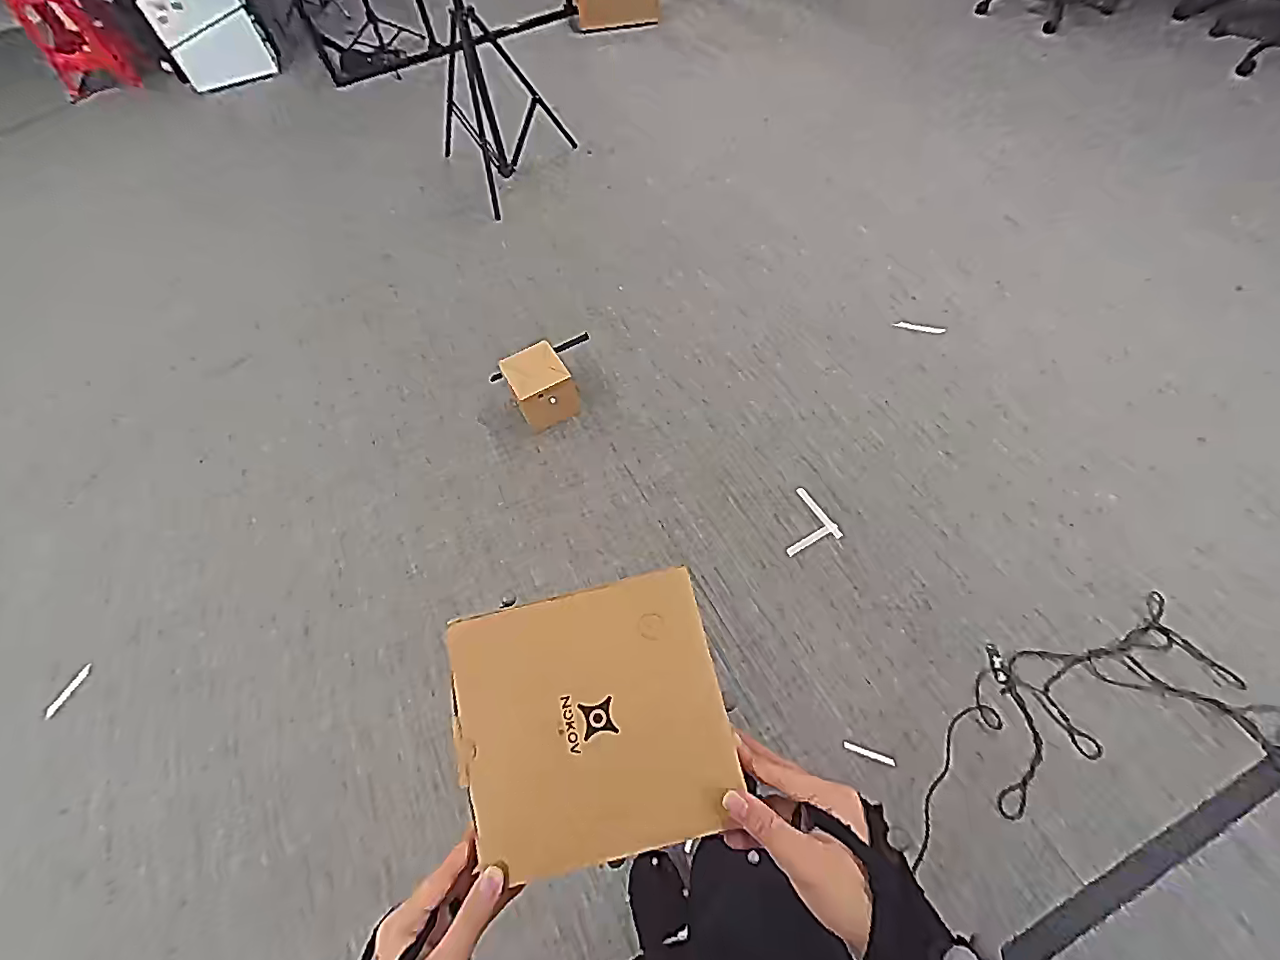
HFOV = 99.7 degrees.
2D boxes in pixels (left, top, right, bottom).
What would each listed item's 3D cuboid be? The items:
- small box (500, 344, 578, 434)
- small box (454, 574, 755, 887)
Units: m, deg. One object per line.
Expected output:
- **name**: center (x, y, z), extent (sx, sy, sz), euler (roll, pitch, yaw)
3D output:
- **small box**: center (-0.309, -0.281, 1.651), extent (0.168, 0.176, 0.179), euler (-28, 61, -11)
- **small box**: center (-0.025, 0.177, 0.435), extent (0.179, 0.176, 0.168), euler (-14, 76, -1)
